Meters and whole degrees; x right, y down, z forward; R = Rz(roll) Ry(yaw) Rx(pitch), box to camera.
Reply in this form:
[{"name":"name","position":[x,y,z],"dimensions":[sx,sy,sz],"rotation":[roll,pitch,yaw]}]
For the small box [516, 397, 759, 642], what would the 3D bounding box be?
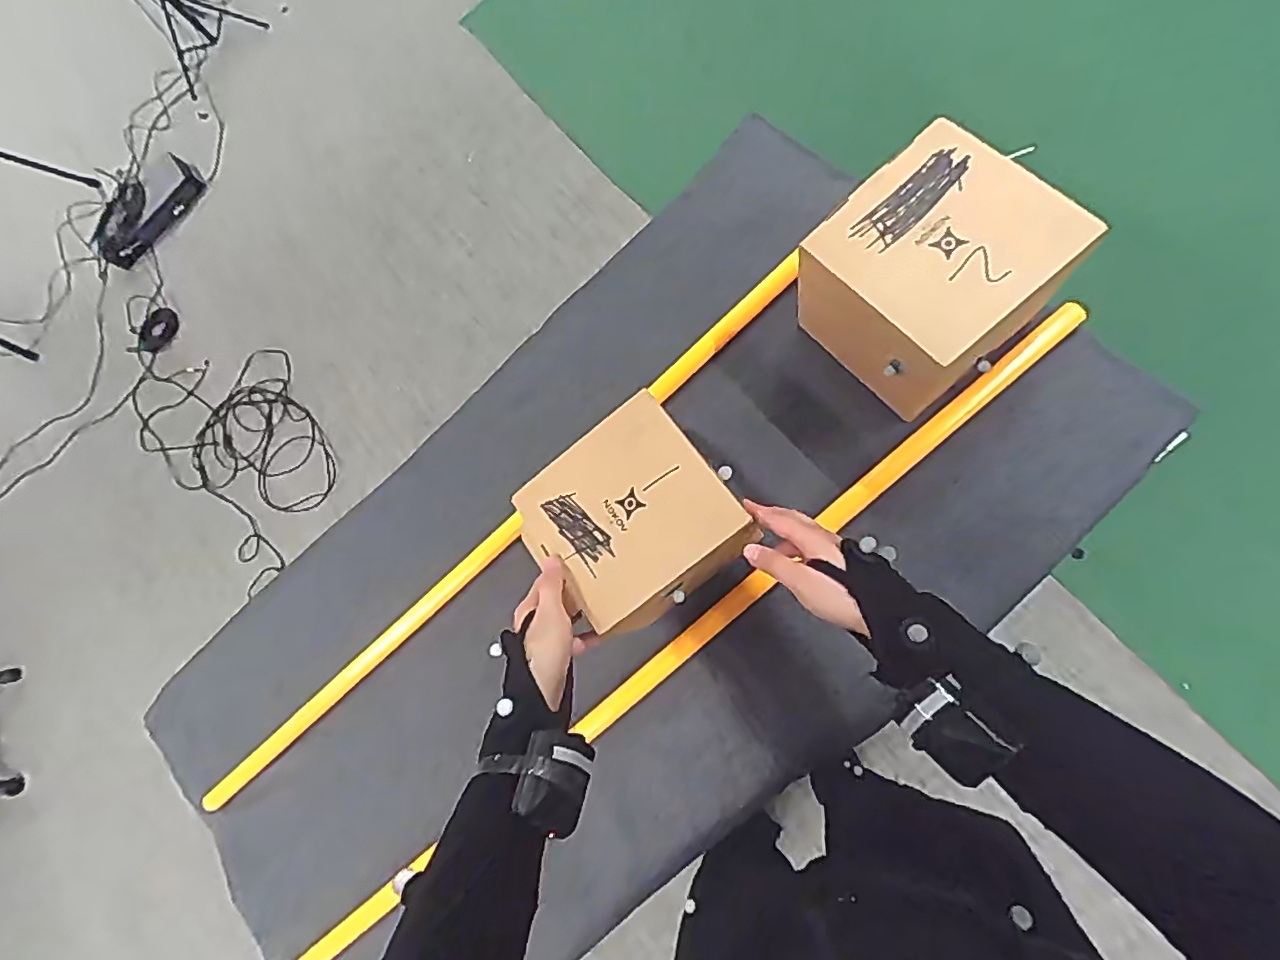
[{"name":"small box","position":[0.009,0.049,0.574],"dimensions":[0.179,0.176,0.168],"rotation":[-38,72,6]}]
